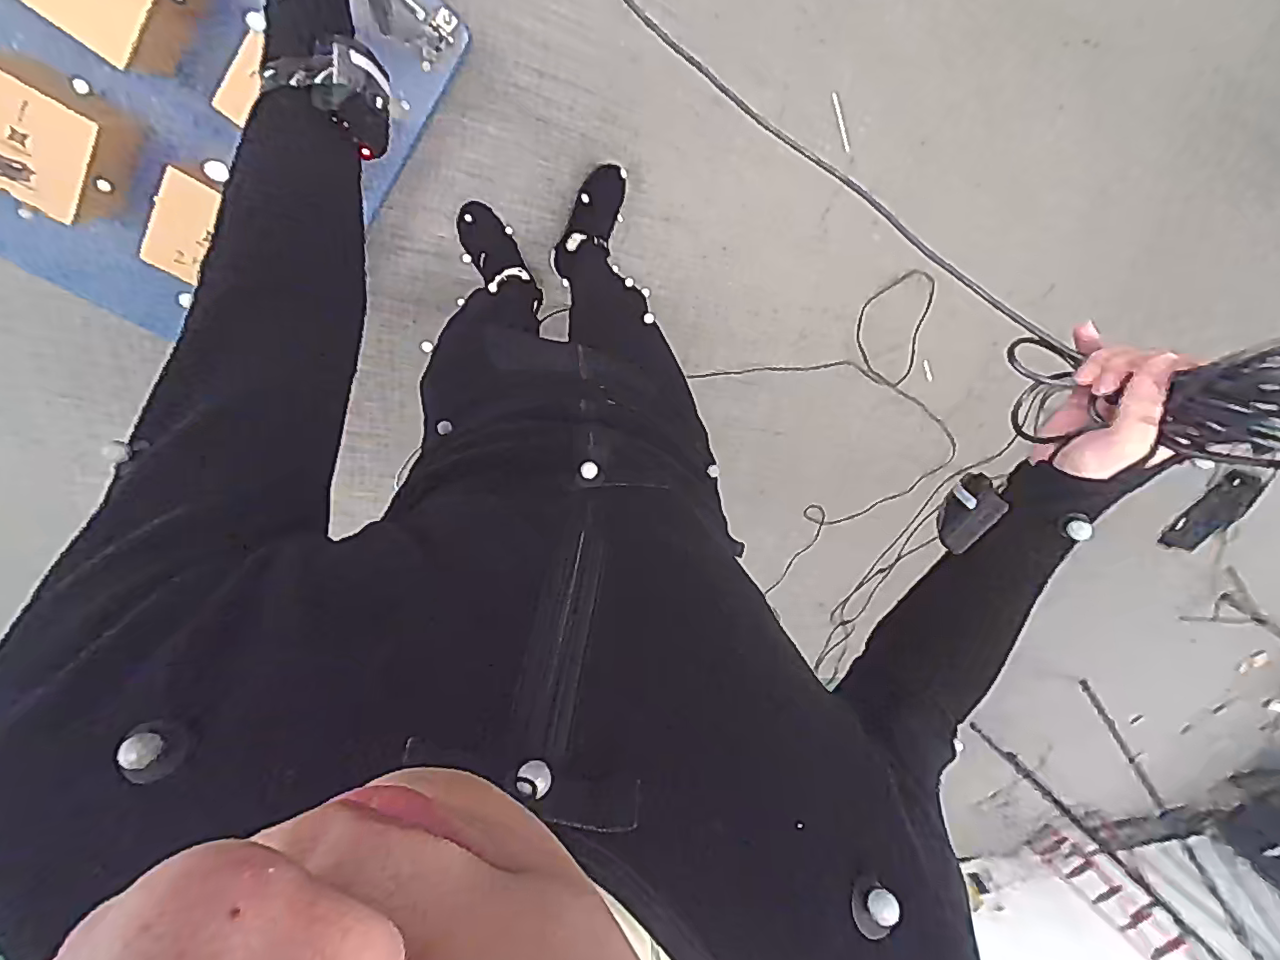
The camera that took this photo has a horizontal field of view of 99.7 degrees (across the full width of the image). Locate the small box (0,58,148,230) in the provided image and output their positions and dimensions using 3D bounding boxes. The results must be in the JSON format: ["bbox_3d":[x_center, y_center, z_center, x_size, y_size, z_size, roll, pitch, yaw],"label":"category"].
[{"bbox_3d":[-0.962,-0.547,0.885,0.168,0.176,0.179,27,111,-30],"label":"small box"}]

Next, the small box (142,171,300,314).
[{"bbox_3d":[-0.766,-0.447,1.009,0.168,0.176,0.179,28,111,-29],"label":"small box"}]

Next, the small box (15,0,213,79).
[{"bbox_3d":[-0.790,-0.742,0.809,0.168,0.176,0.179,32,109,-31],"label":"small box"}]
